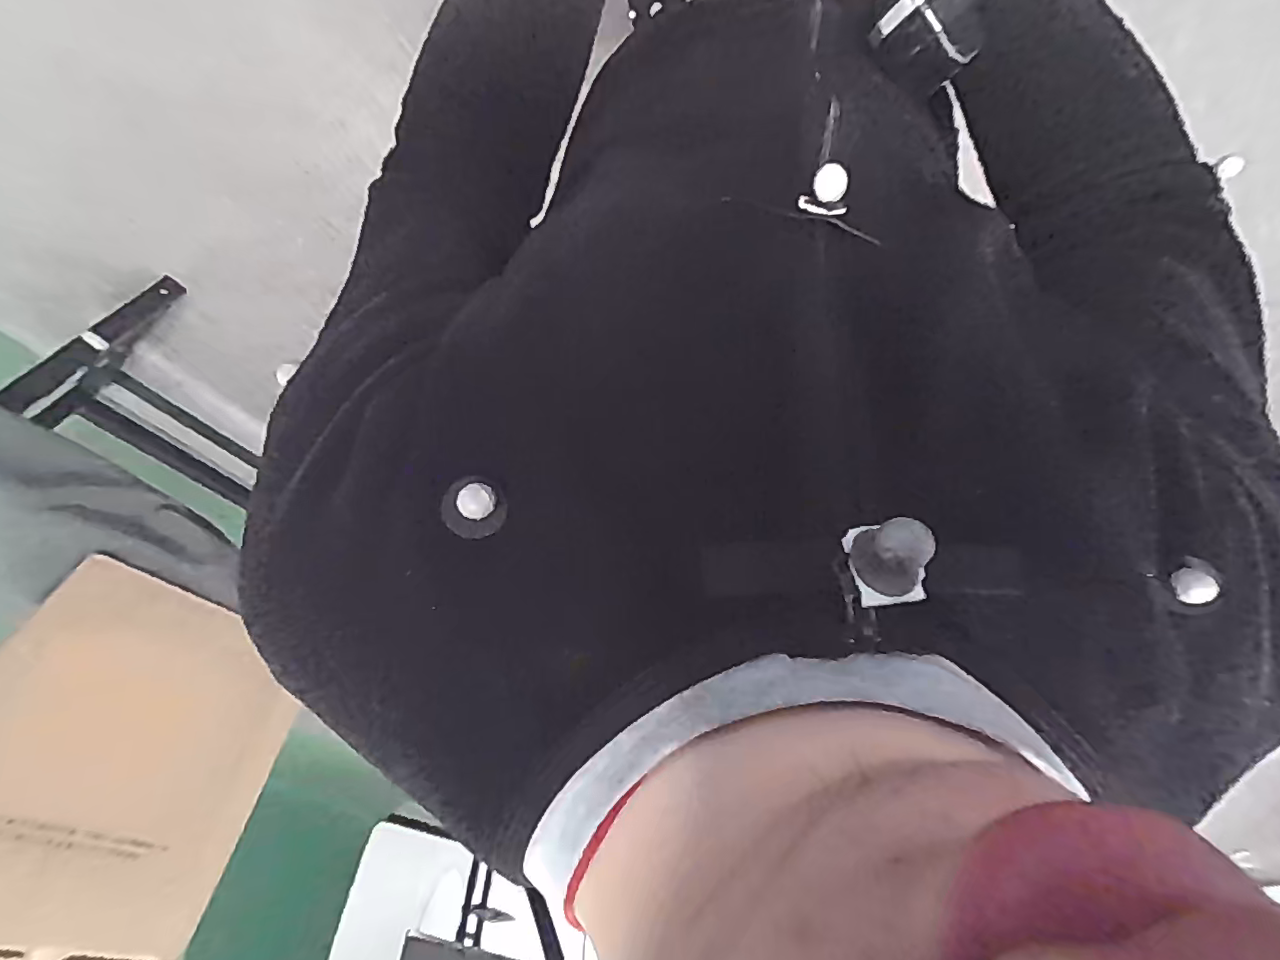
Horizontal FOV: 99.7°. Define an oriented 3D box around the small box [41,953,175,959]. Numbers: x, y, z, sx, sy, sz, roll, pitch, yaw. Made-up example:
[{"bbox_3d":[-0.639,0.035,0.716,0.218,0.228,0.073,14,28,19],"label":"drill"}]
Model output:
[{"bbox_3d":[-0.967,0.936,0.936,0.168,0.176,0.179,-27,129,24],"label":"small box"}]
